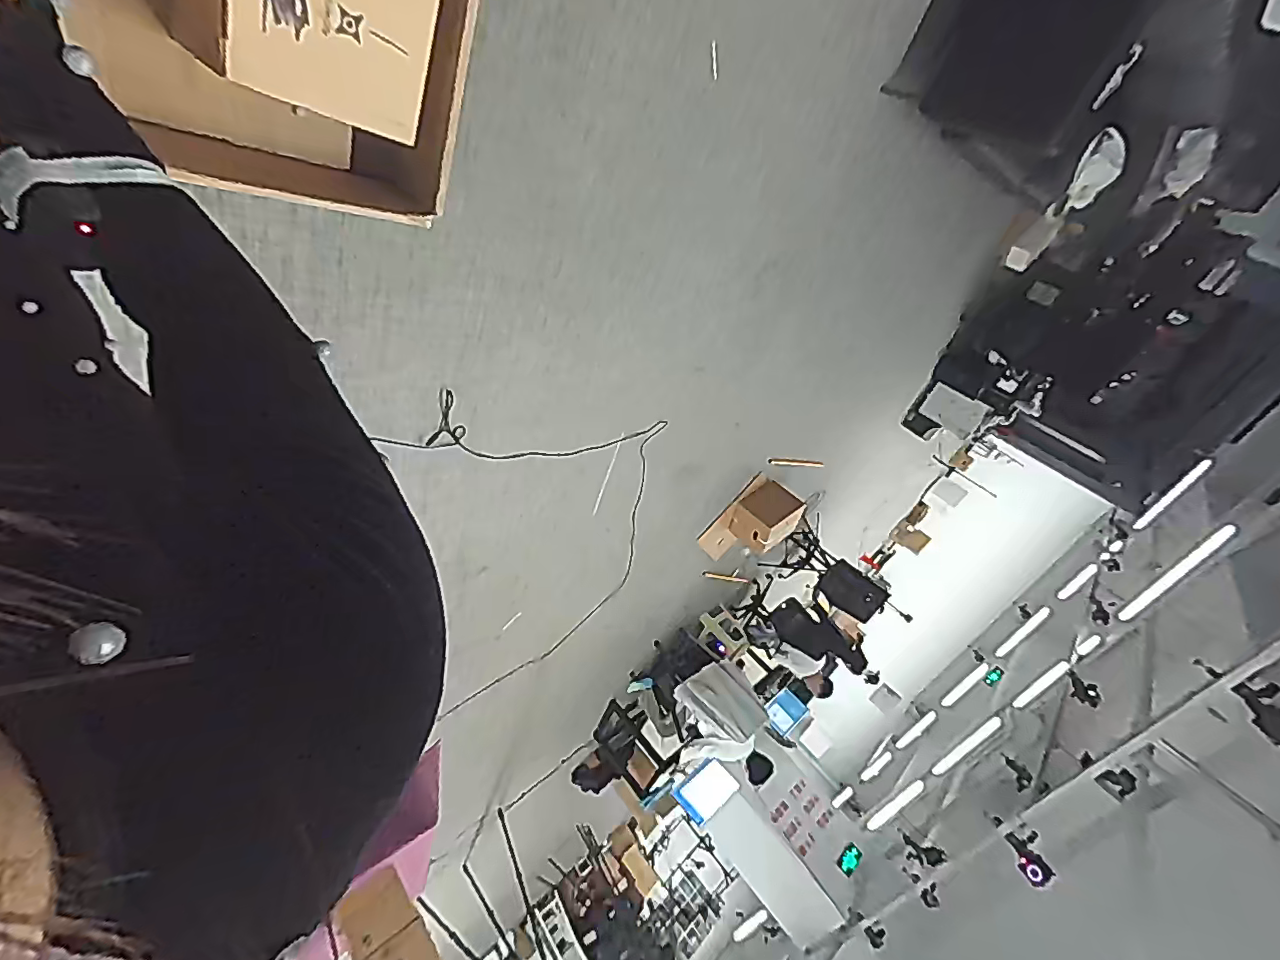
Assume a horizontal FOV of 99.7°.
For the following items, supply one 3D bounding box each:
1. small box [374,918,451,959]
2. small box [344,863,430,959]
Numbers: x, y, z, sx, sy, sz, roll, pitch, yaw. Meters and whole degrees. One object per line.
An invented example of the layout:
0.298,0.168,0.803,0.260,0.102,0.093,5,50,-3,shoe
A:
-0.628,1.367,1.496,0.168,0.176,0.179,-18,139,-40,small box
-0.736,1.268,1.571,0.179,0.176,0.168,-18,140,-40,small box
